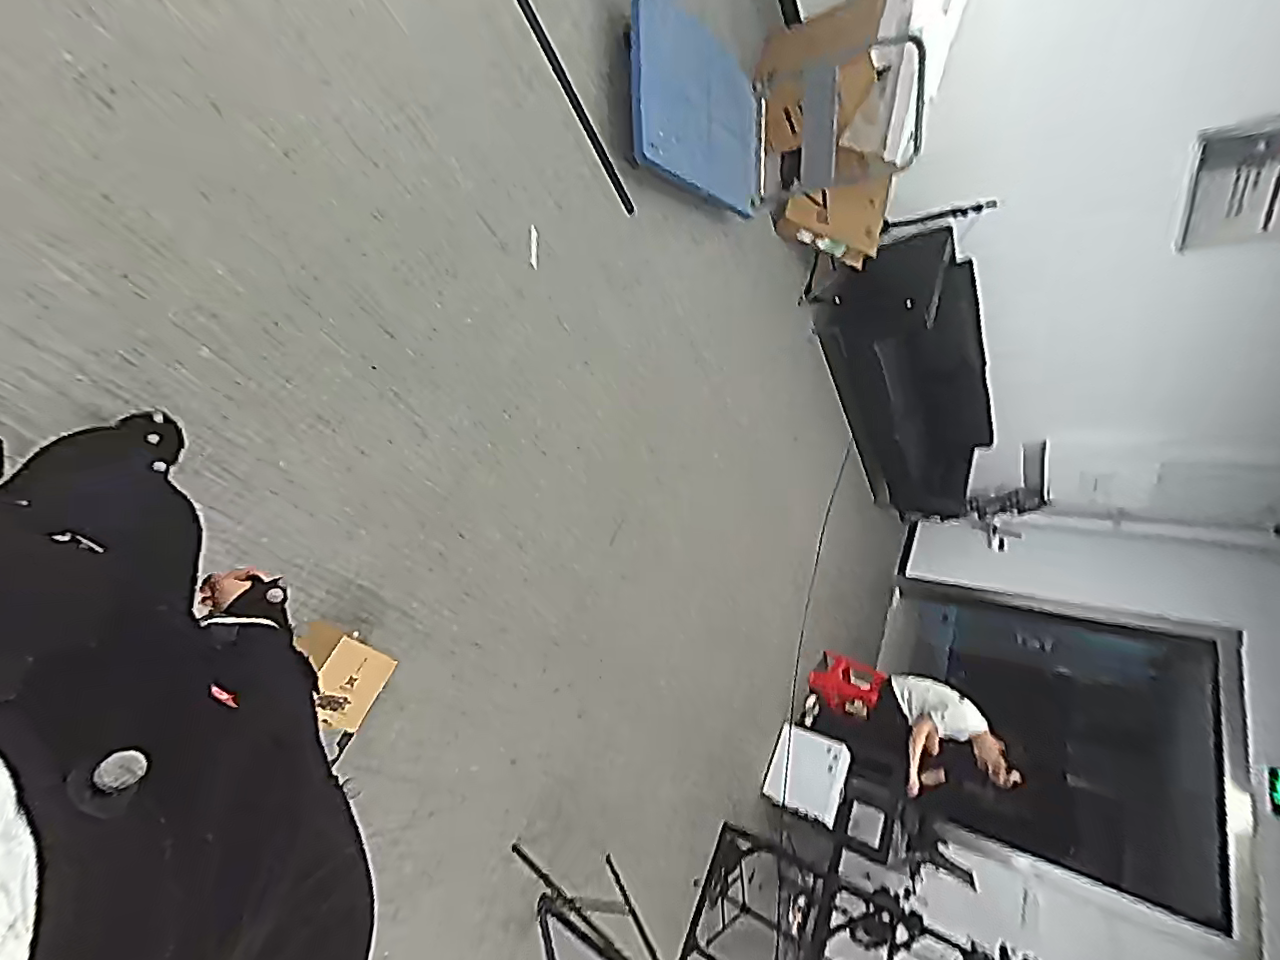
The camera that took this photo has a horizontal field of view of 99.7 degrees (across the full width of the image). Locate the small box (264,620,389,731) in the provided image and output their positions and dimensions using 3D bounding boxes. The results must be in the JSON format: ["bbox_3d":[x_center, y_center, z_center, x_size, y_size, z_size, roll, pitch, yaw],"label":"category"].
[{"bbox_3d":[-0.744,0.455,1.275,0.168,0.176,0.179,53,53,-40],"label":"small box"}]
